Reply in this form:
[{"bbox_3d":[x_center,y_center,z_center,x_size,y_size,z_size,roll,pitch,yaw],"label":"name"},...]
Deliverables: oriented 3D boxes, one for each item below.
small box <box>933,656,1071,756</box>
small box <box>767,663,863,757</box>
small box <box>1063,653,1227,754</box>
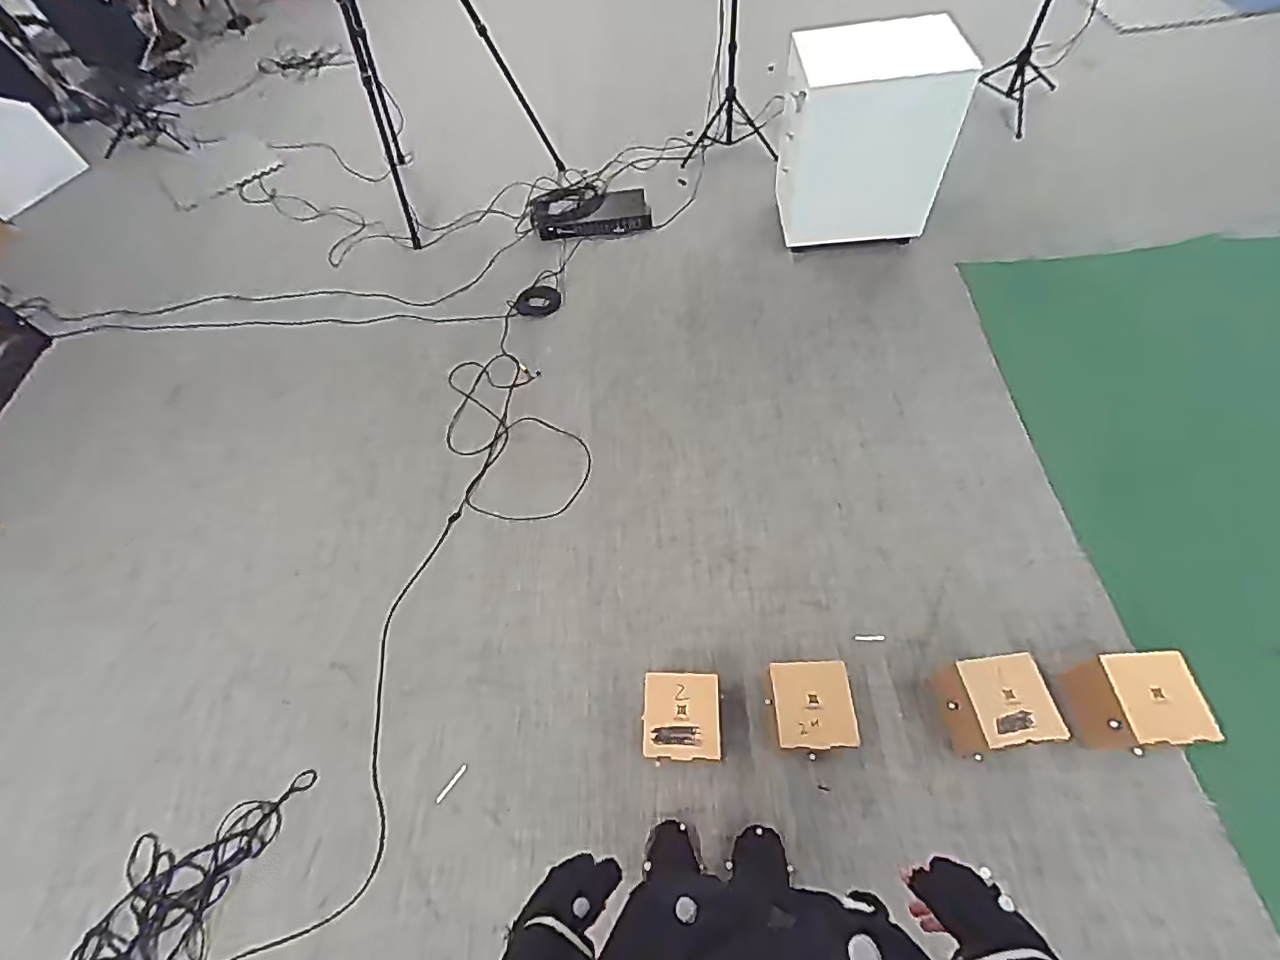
[{"bbox_3d":[0.788,0.507,1.200,0.168,0.176,0.179,-8,57,1],"label":"small box"},{"bbox_3d":[0.387,0.527,1.231,0.168,0.176,0.179,-4,59,5],"label":"small box"},{"bbox_3d":[1.079,0.490,1.179,0.168,0.176,0.179,-5,58,4],"label":"small box"}]
